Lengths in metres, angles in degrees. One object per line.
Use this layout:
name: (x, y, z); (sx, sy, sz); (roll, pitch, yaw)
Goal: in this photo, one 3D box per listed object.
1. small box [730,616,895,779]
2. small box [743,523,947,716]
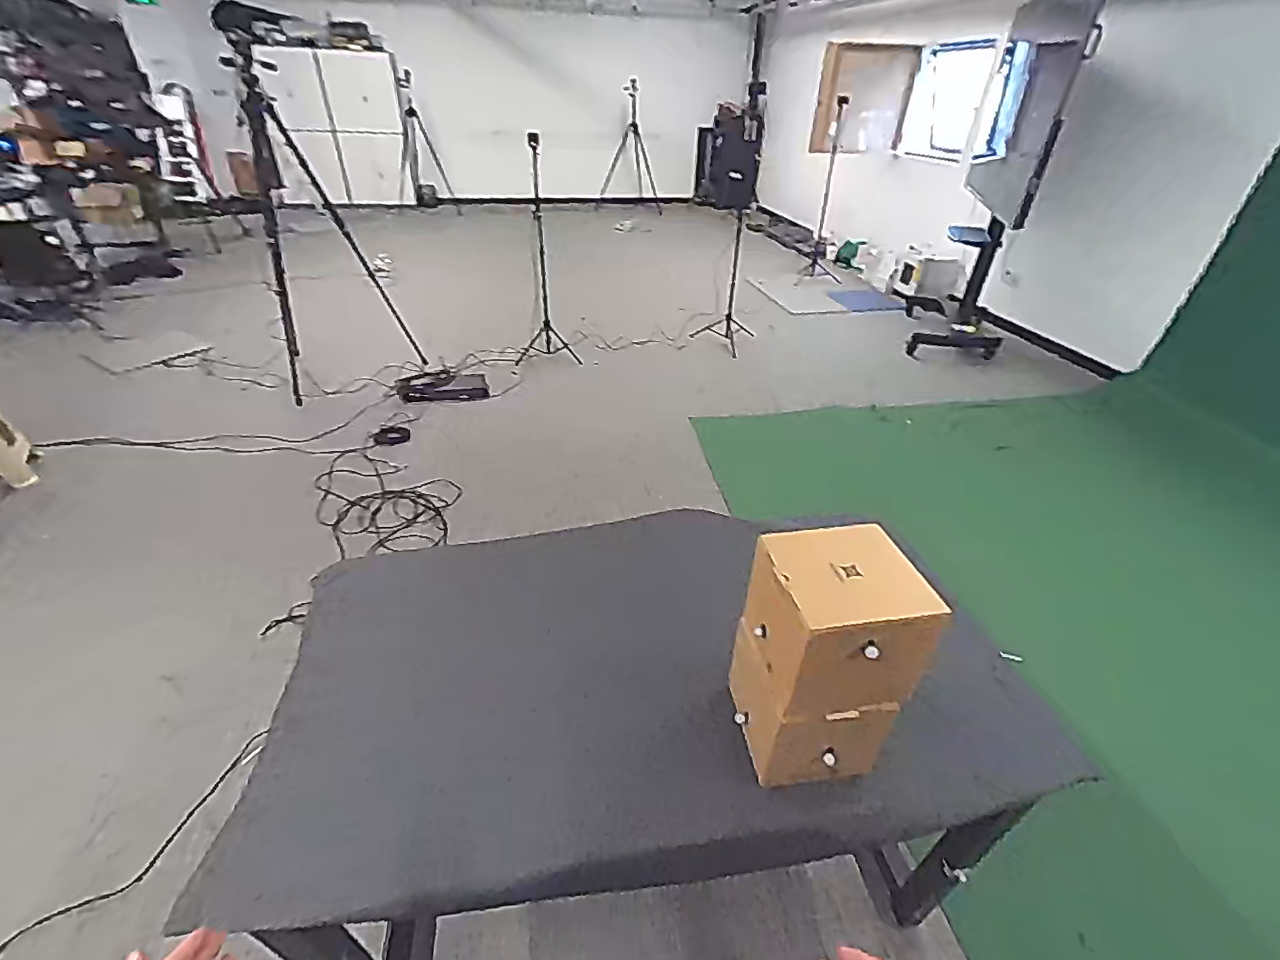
small box: (0.238, 0.314, 0.795); (0.168, 0.176, 0.179); (-4, 35, -7)
small box: (0.249, 0.179, 0.705); (0.179, 0.176, 0.168); (-6, 34, -8)
